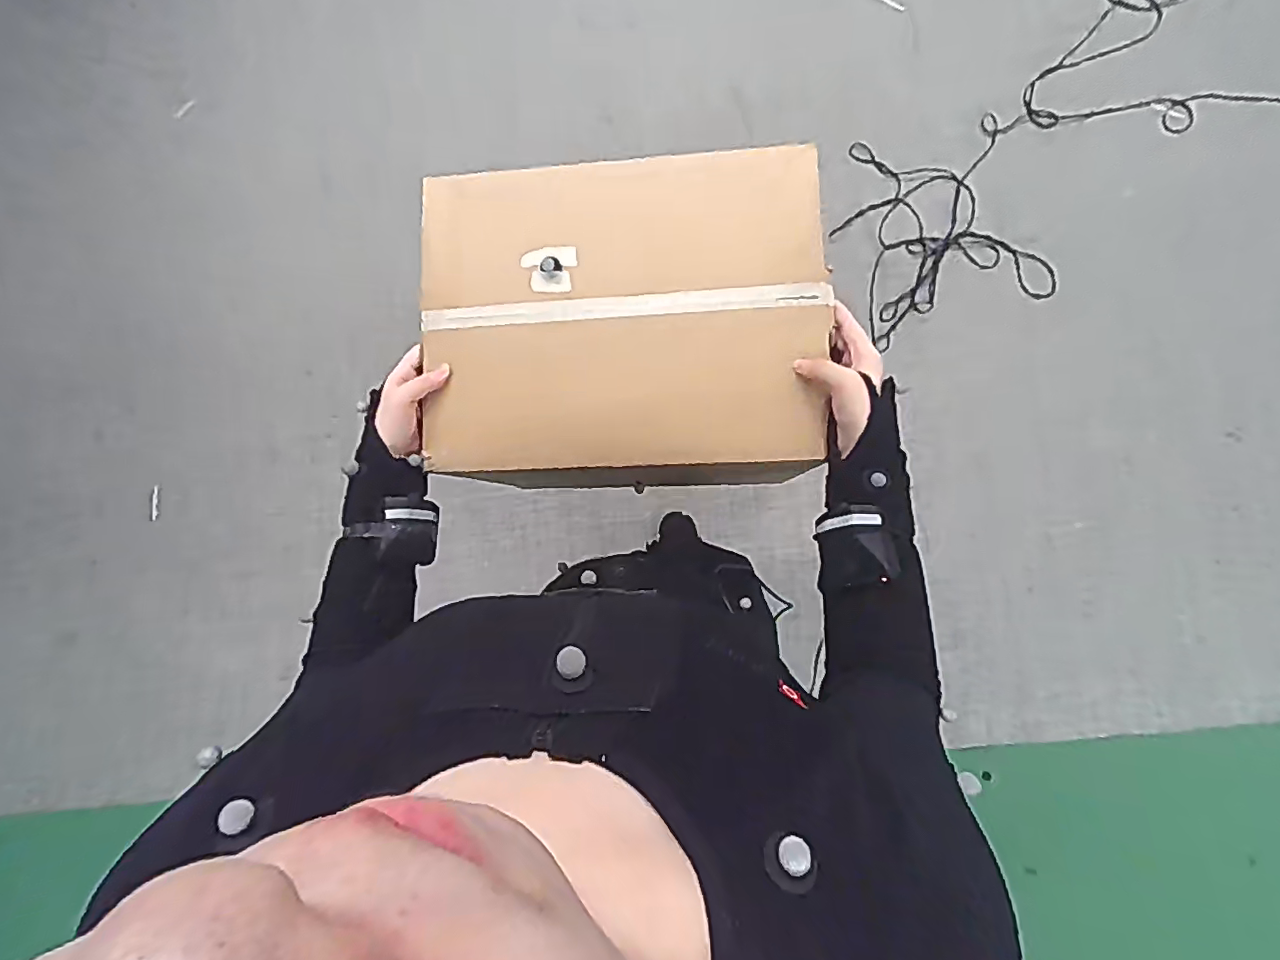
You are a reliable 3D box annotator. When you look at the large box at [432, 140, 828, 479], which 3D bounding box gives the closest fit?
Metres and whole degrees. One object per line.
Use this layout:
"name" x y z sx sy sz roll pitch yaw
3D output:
"large box" -0.002 -0.168 0.697 0.408 0.320 0.320 -2 86 7
